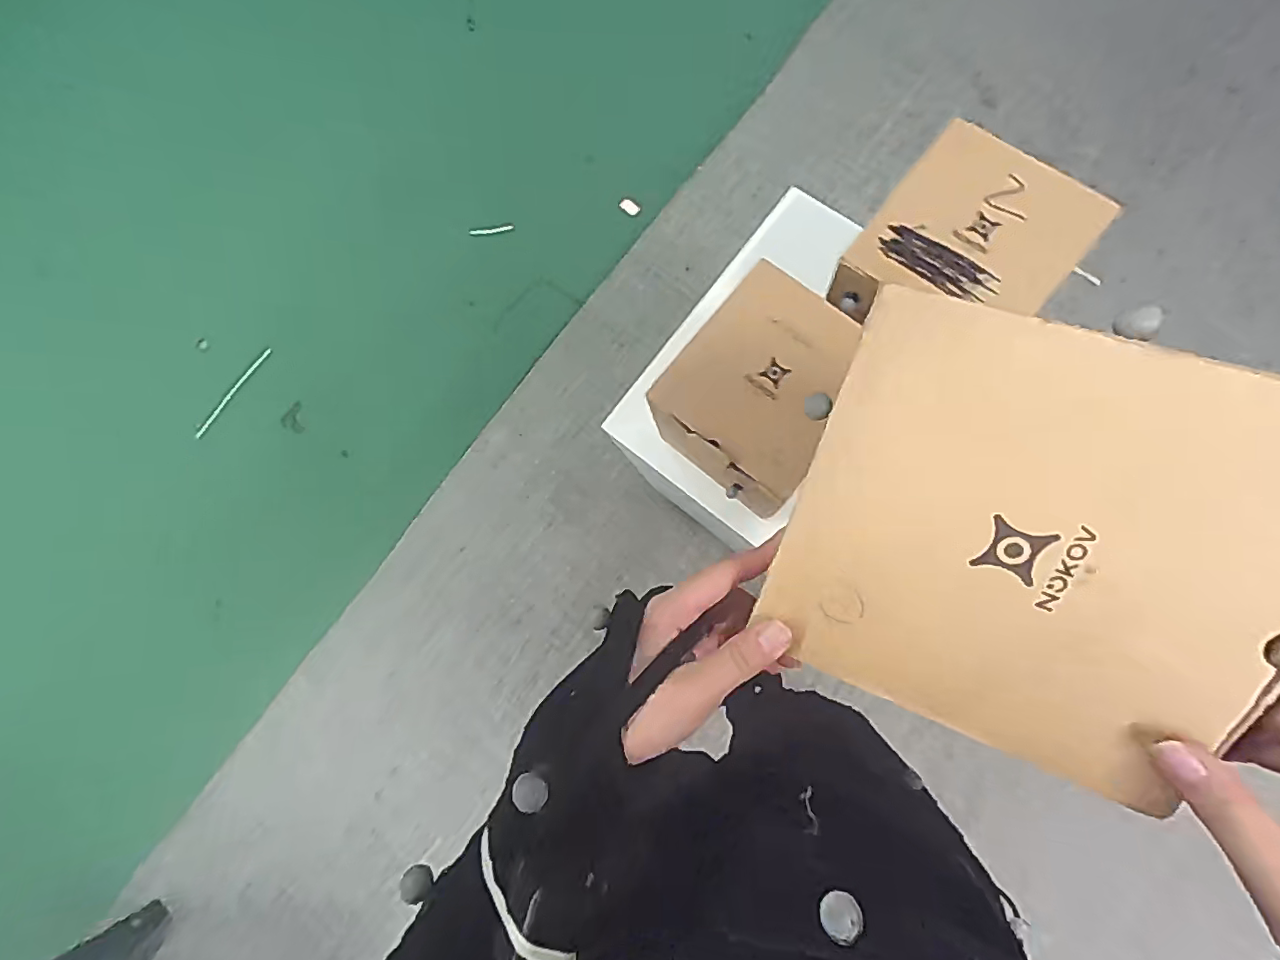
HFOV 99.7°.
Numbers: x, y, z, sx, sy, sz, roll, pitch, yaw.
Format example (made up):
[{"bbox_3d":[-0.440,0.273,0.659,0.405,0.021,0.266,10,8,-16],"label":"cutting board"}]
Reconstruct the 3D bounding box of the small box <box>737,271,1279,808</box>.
[{"bbox_3d":[0.170,0.007,0.277,0.179,0.176,0.168,20,109,15],"label":"small box"}]

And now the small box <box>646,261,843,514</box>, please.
[{"bbox_3d":[0.130,-0.081,0.573,0.168,0.176,0.179,40,87,11],"label":"small box"}]
